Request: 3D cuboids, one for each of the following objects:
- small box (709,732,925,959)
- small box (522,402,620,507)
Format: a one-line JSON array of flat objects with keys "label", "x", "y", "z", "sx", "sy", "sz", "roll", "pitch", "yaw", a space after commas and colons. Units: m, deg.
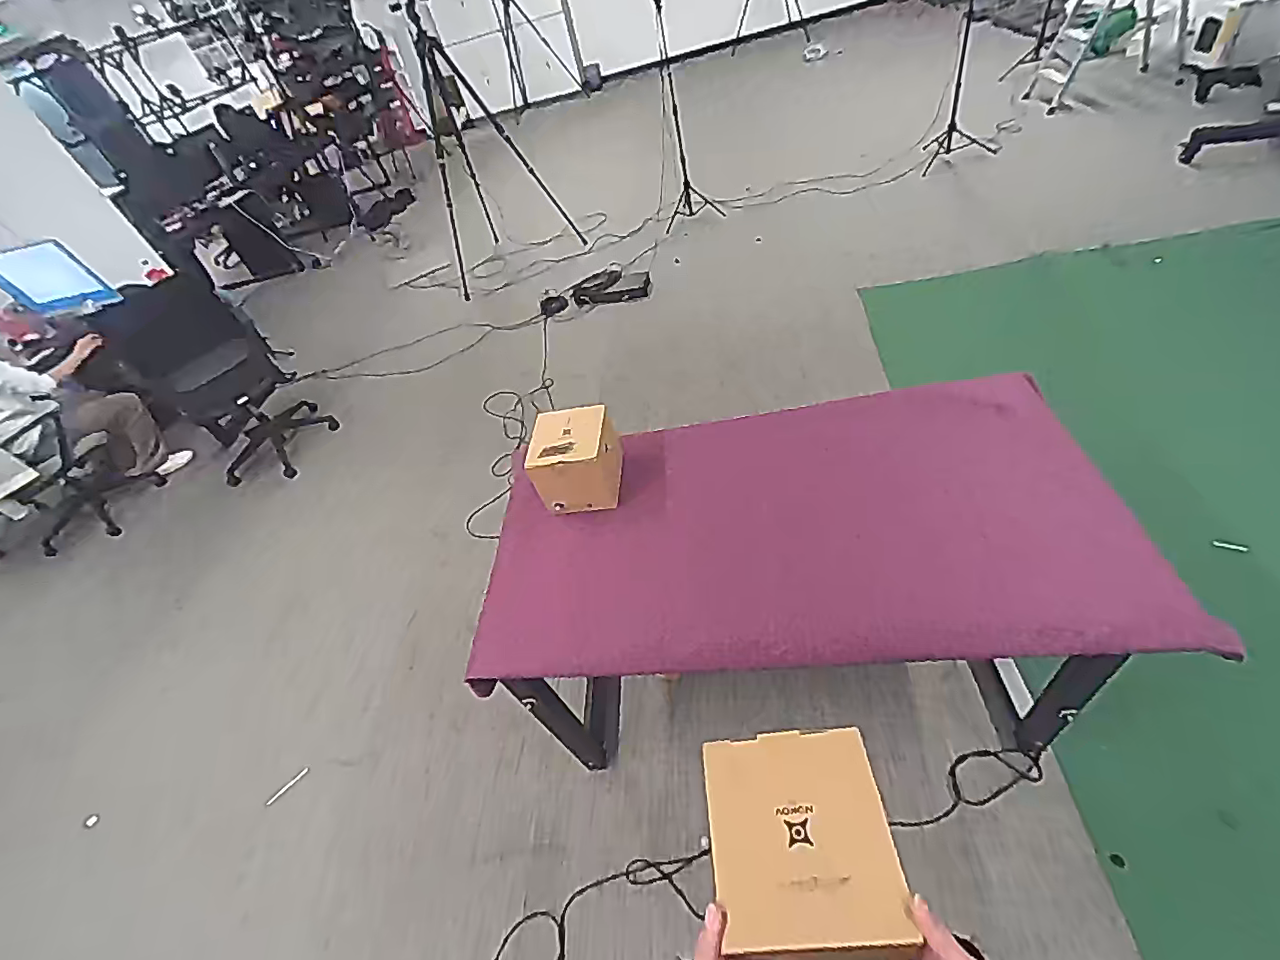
[{"label": "small box", "x": 0.166, "y": 0.388, "z": 0.561, "sx": 0.168, "sy": 0.176, "sz": 0.179, "roll": -9, "pitch": 43, "yaw": 7}, {"label": "small box", "x": -0.148, "y": -0.051, "z": 1.233, "sx": 0.168, "sy": 0.176, "sz": 0.179, "roll": -5, "pitch": 48, "yaw": 11}]
